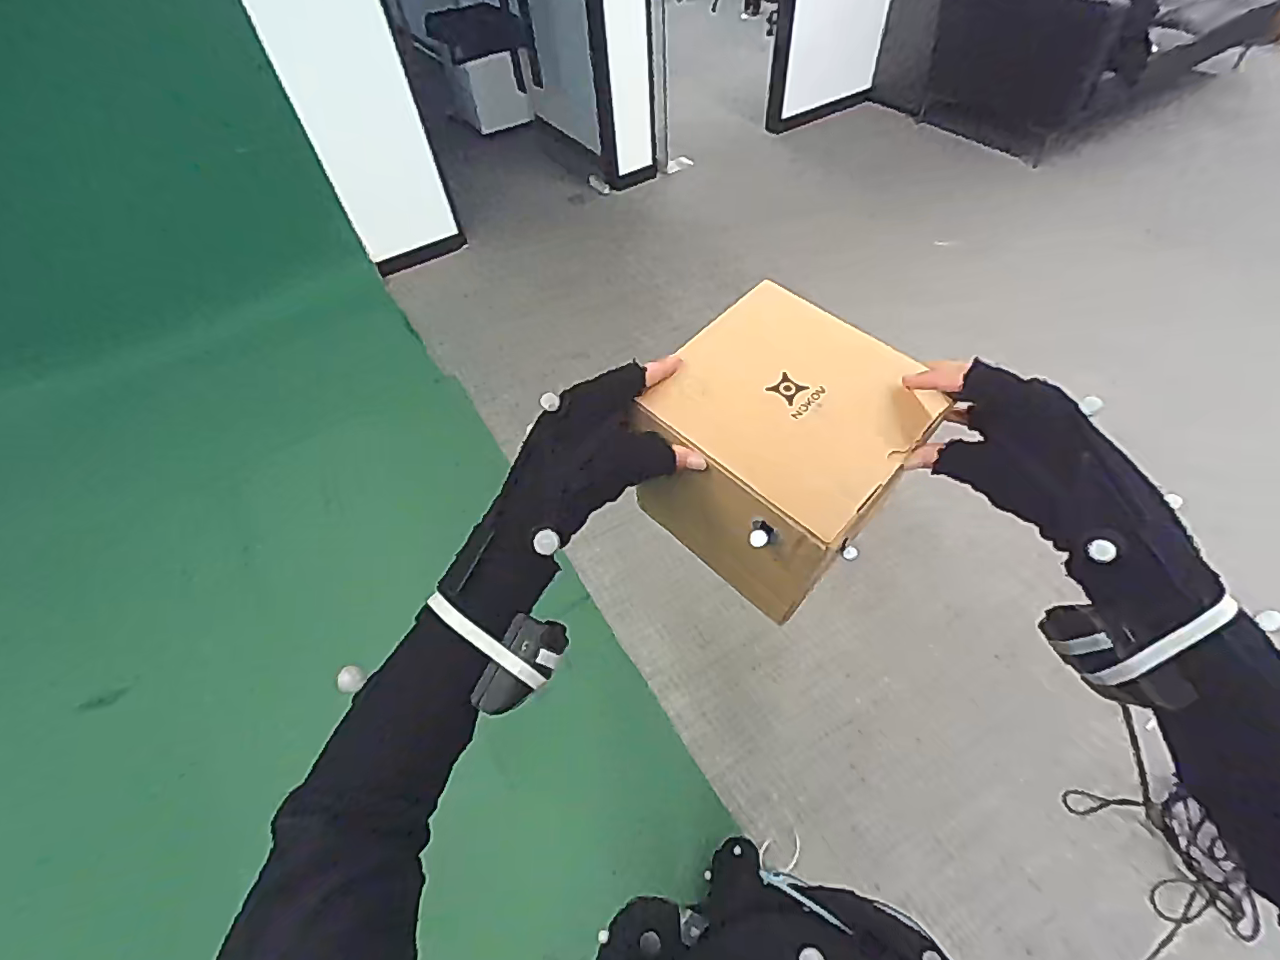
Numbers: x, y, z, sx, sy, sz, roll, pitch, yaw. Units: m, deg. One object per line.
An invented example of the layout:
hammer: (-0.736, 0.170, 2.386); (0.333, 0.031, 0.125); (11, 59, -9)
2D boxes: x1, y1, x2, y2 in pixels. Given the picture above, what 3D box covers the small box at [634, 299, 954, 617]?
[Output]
small box: (0.112, -0.012, 0.462); (0.179, 0.176, 0.168); (39, 68, 22)
